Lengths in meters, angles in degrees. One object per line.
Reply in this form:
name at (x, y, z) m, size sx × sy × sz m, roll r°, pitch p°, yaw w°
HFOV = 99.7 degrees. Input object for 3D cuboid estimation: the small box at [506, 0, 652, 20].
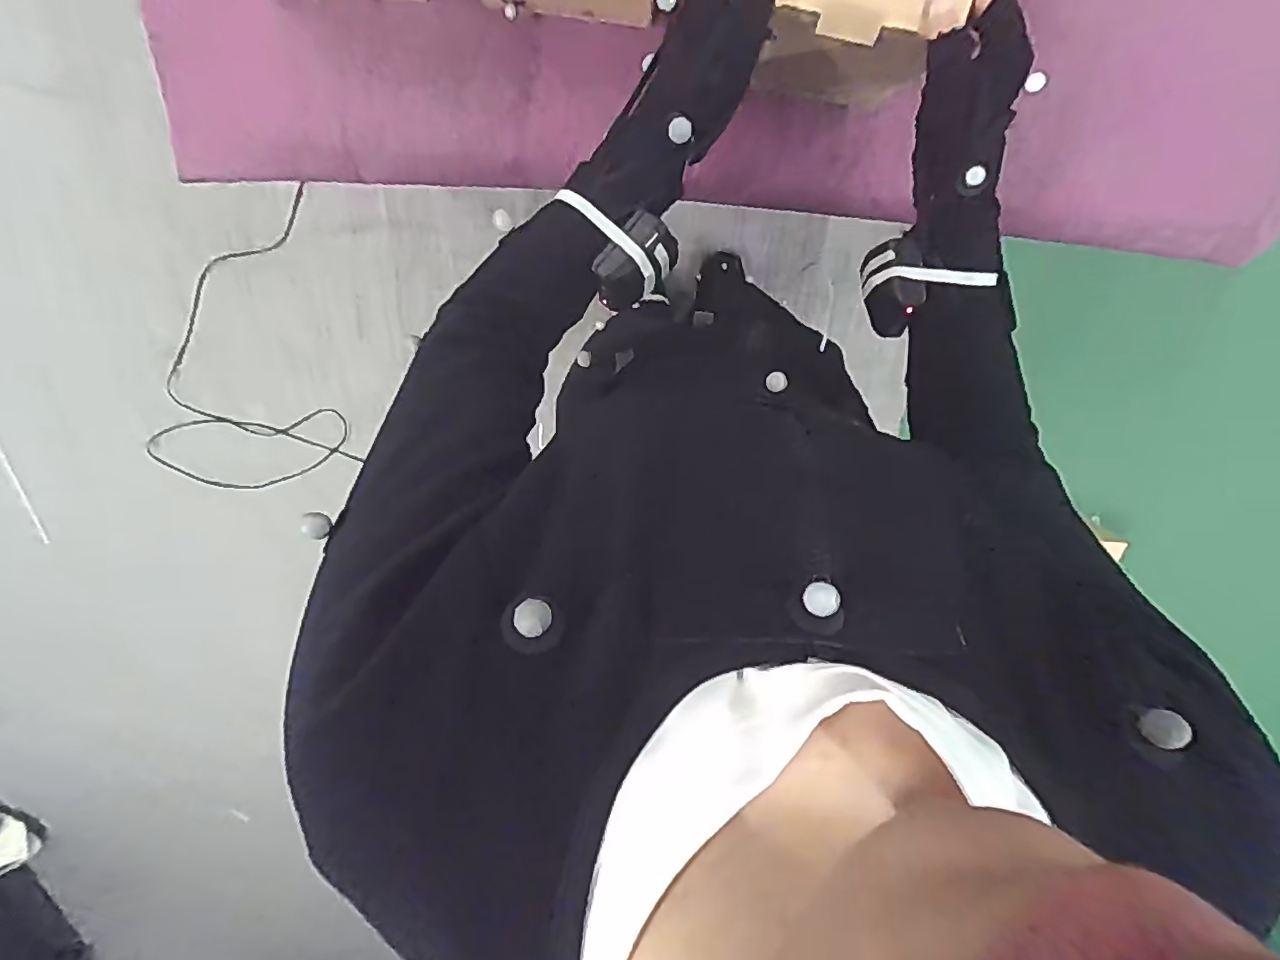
small box at (-0.064, -0.505, 0.429) m, size 0.168 × 0.176 × 0.179 m, roll 5°, pitch 115°, yaw -2°
